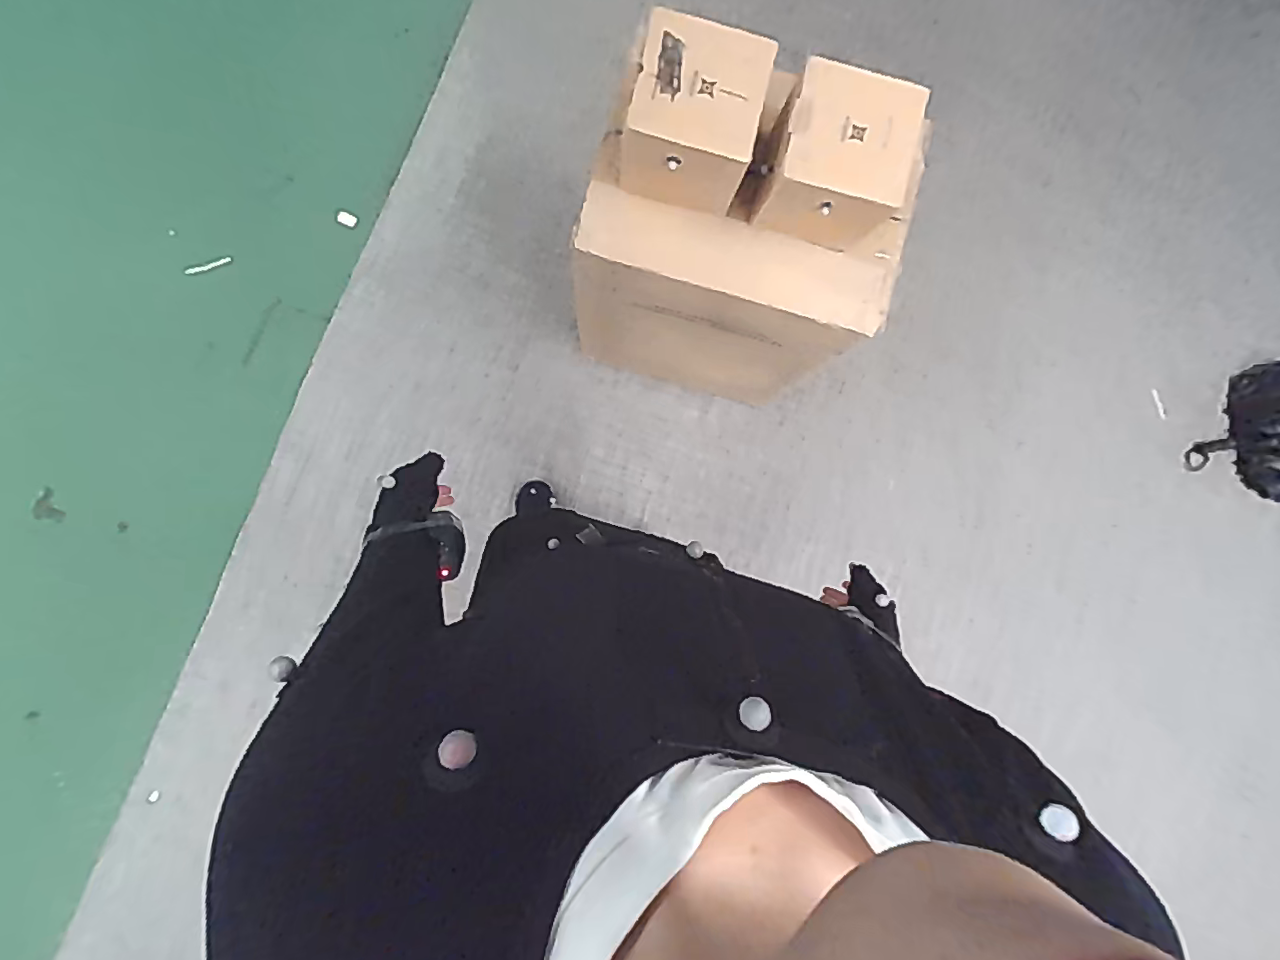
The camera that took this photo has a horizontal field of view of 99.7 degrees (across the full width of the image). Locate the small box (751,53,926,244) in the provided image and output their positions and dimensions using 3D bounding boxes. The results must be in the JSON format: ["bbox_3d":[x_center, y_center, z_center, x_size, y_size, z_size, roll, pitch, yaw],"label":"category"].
[{"bbox_3d":[0.283,-0.480,0.812,0.179,0.176,0.168,12,93,-6],"label":"small box"}]

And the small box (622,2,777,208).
[{"bbox_3d":[0.075,-0.532,0.796,0.179,0.176,0.168,14,92,-5],"label":"small box"}]
